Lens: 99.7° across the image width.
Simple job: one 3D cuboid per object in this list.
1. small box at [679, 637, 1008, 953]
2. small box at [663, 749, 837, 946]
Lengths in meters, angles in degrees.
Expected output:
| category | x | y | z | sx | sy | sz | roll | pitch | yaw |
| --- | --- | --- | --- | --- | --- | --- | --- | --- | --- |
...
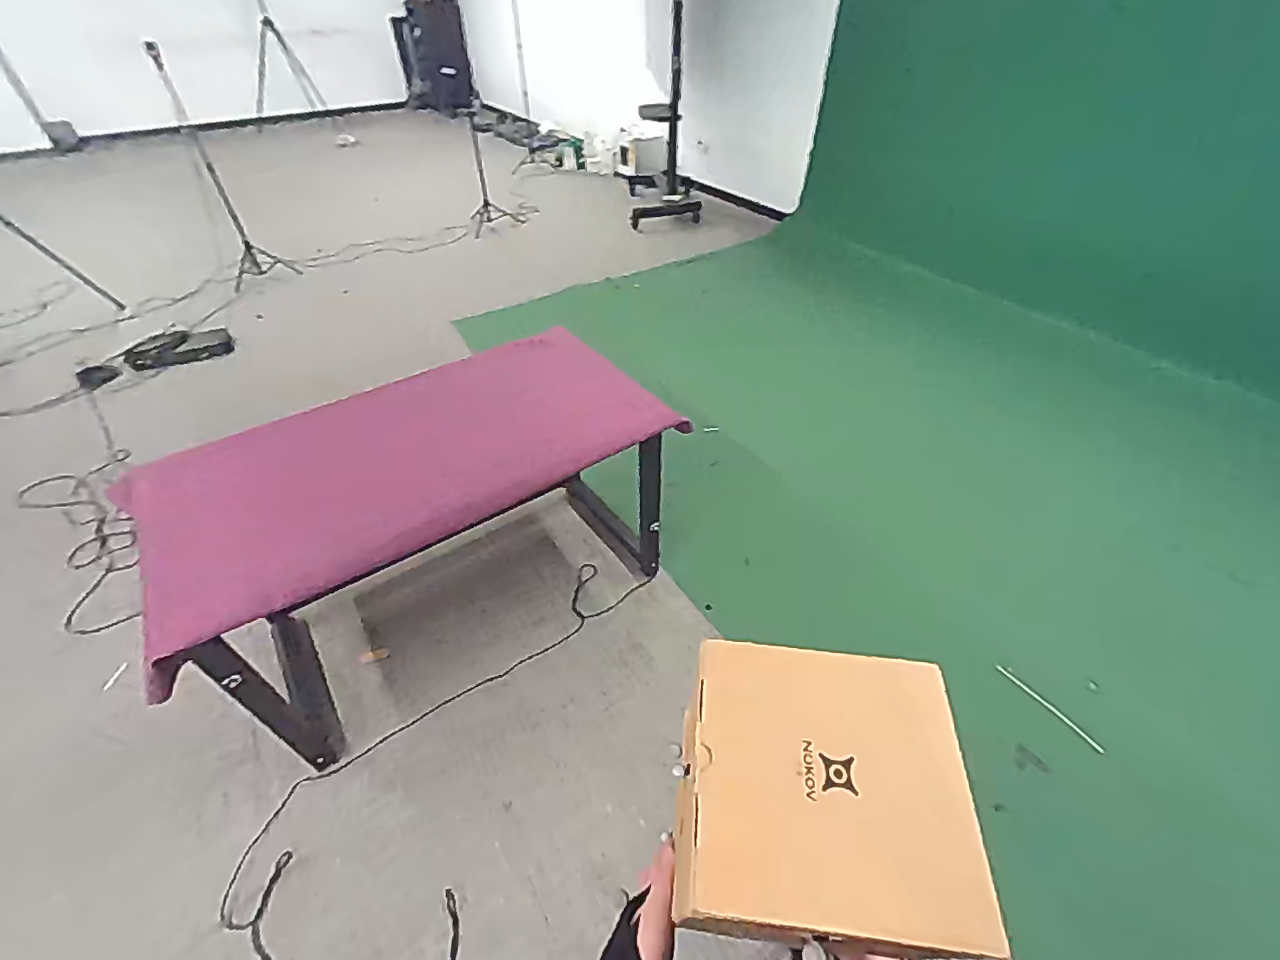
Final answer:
| category | x | y | z | sx | sy | sz | roll | pitch | yaw |
| --- | --- | --- | --- | --- | --- | --- | --- | --- | --- |
| small box | 0.127 | 0.240 | 0.414 | 0.179 | 0.176 | 0.168 | 5 | 49 | 4 |
| small box | 0.126 | 0.451 | 0.664 | 0.179 | 0.176 | 0.168 | 6 | 49 | 5 |
